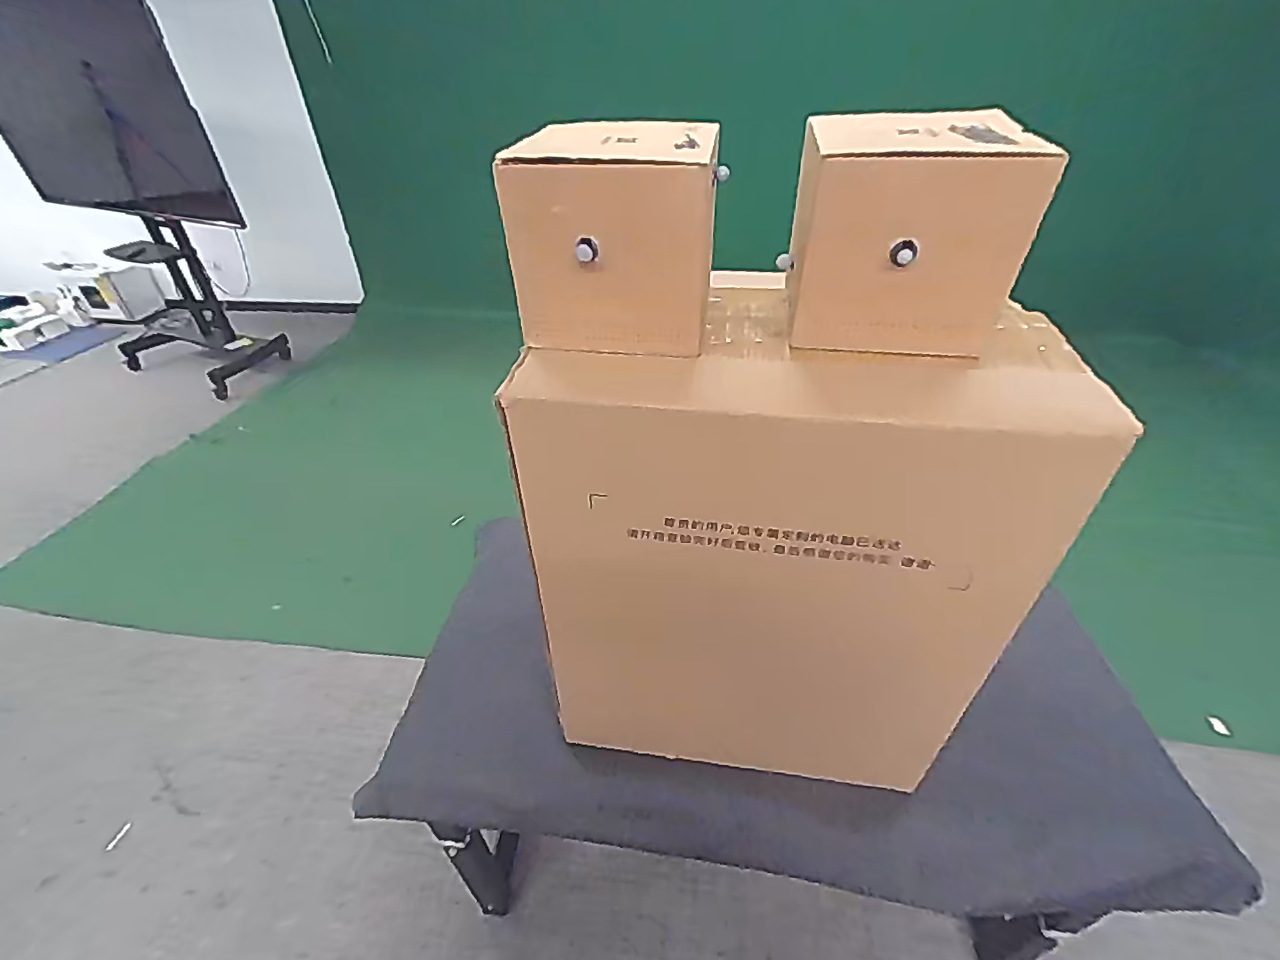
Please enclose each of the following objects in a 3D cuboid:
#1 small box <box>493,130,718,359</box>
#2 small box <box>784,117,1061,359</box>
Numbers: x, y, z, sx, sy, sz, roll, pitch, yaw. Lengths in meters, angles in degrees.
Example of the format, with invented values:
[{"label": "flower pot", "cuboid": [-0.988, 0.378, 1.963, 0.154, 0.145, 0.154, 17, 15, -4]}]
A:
[{"label": "small box", "cuboid": [-0.018, -0.232, 0.535, 0.179, 0.176, 0.168, 5, 42, 9]}, {"label": "small box", "cuboid": [0.239, -0.228, 0.514, 0.179, 0.176, 0.168, 5, 43, 10]}]
